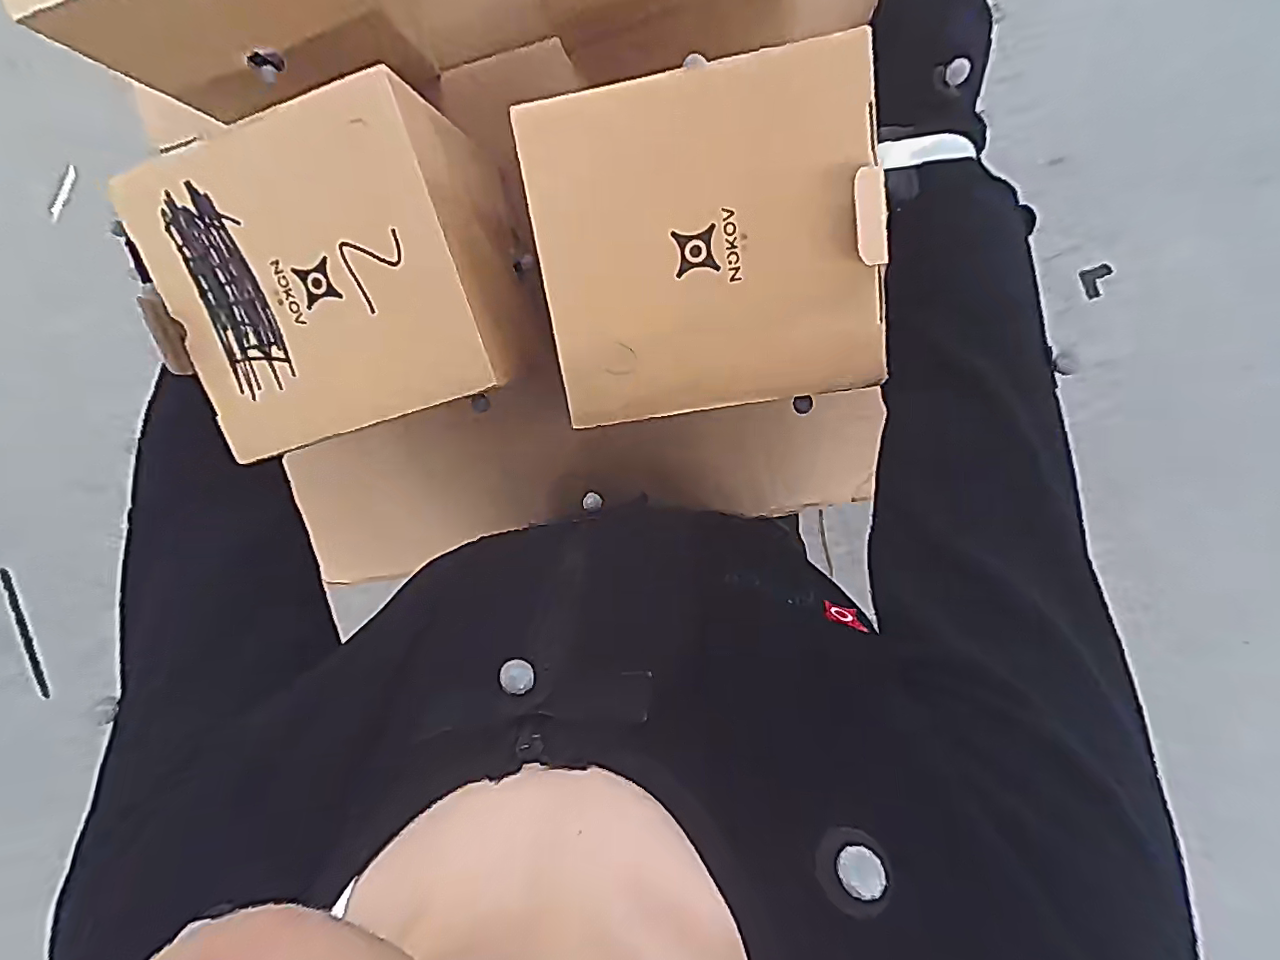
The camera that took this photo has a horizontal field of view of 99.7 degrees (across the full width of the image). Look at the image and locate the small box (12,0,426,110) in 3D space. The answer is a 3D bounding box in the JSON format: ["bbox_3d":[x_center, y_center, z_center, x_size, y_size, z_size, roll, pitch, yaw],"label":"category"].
[{"bbox_3d":[-0.262,-0.363,0.332,0.168,0.176,0.179,-12,102,8],"label":"small box"}]
